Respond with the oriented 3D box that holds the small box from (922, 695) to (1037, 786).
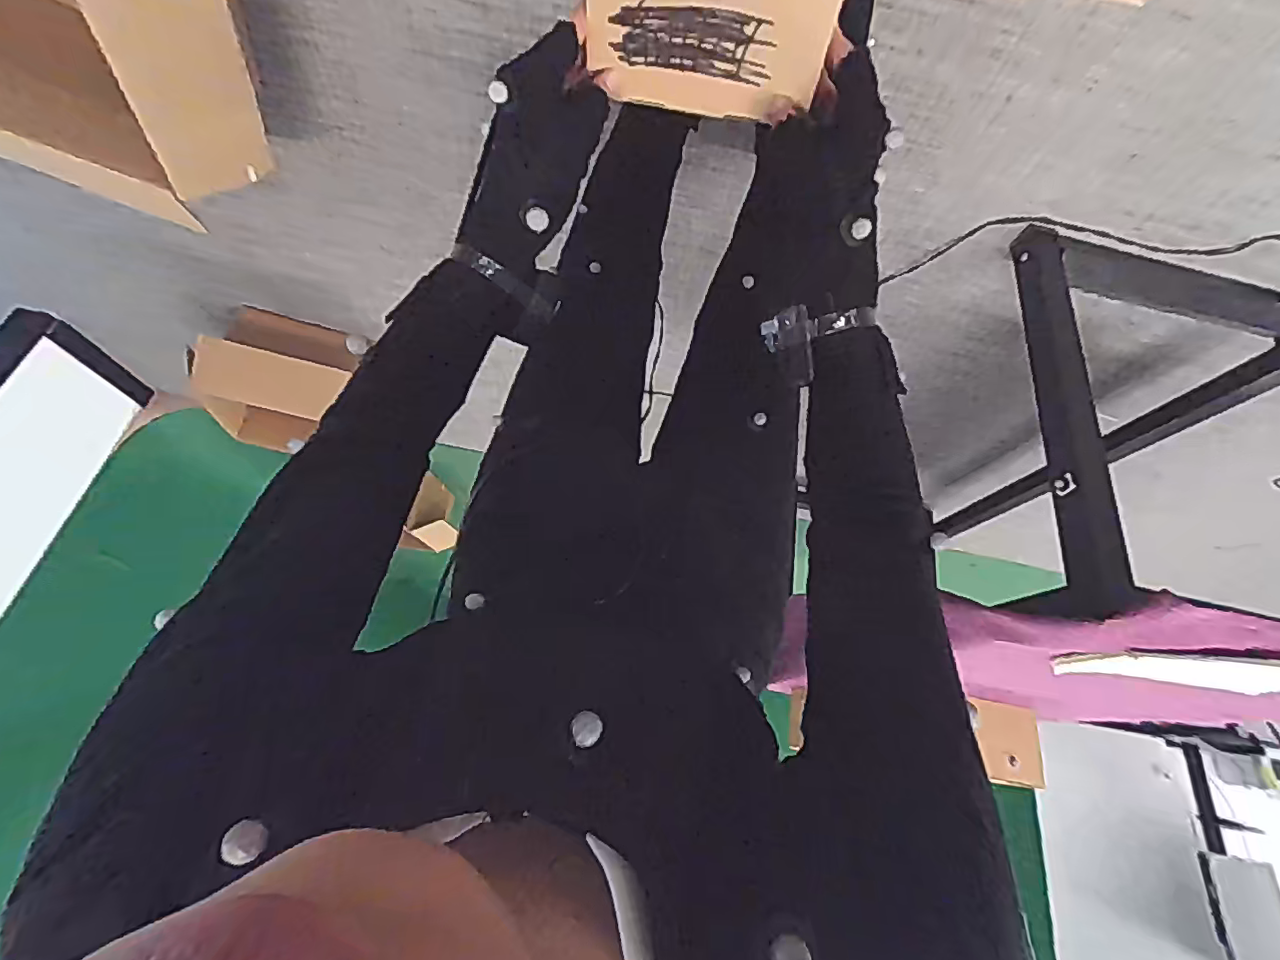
[{"bbox_3d":[0.806,0.621,1.304,0.179,0.176,0.168,14,155,-4],"label":"small box"}]
